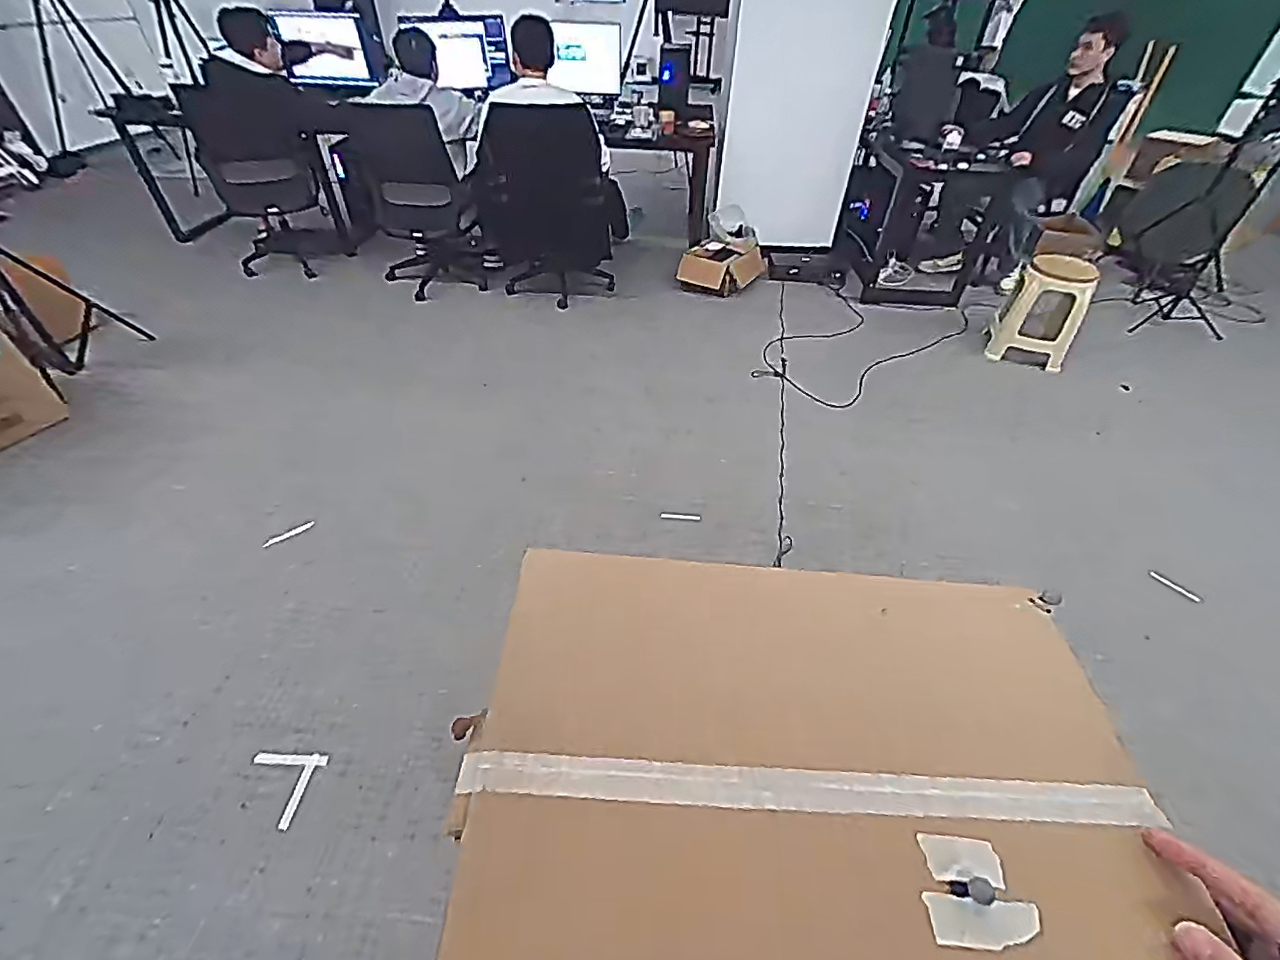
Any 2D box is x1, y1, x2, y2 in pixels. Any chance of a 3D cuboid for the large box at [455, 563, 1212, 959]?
[{"bbox_3d":[0.091,0.292,0.433,0.408,0.320,0.320,5,47,-3],"label":"large box"}]
